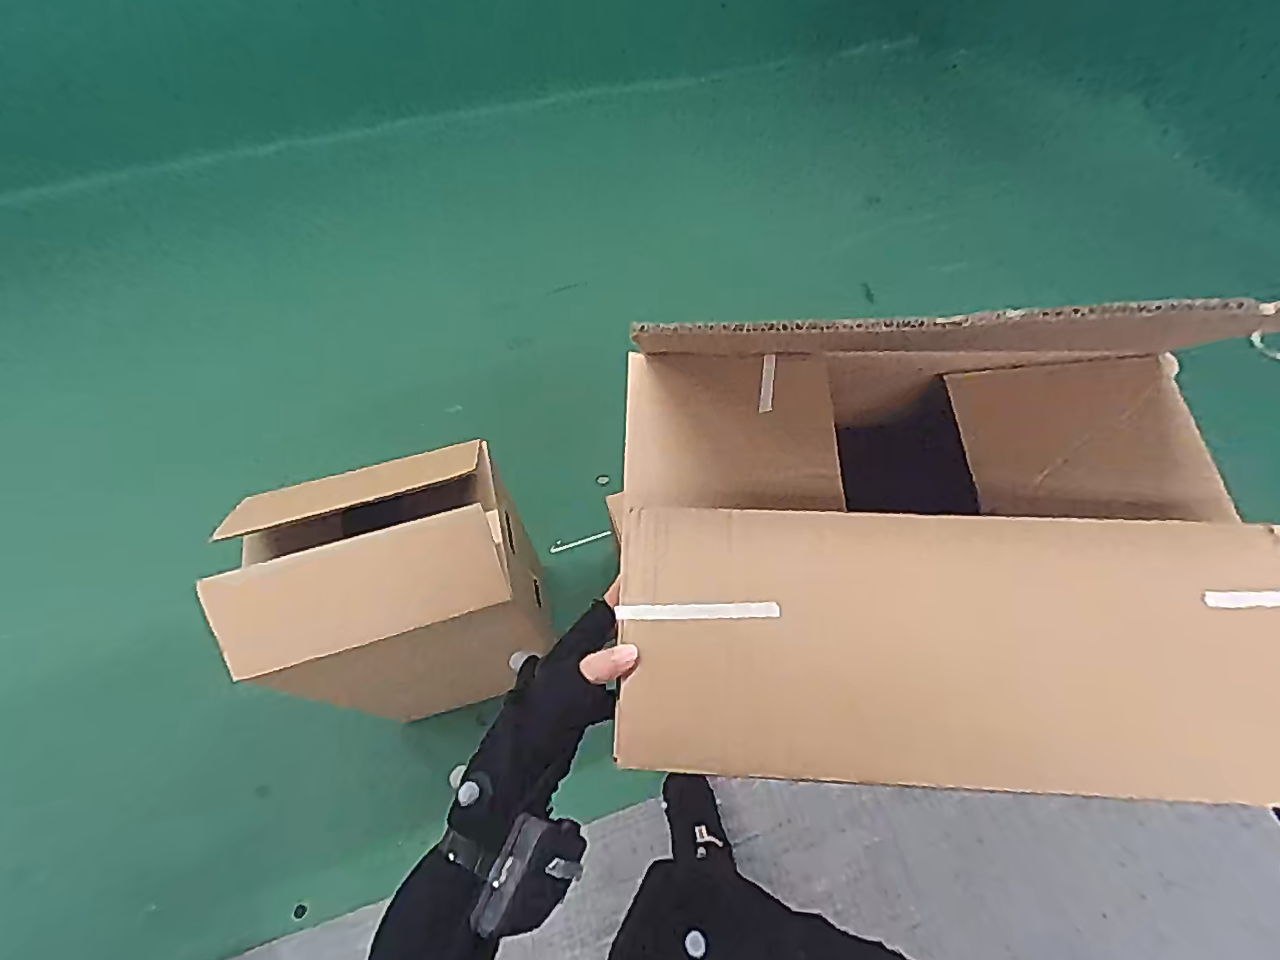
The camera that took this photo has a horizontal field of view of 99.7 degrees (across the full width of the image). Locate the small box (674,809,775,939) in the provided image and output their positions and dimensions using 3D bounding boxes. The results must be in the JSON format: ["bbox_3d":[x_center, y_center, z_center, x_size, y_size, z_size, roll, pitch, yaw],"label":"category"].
[{"bbox_3d":[0.168,0.793,1.105,0.168,0.176,0.179,10,64,-2],"label":"small box"}]
